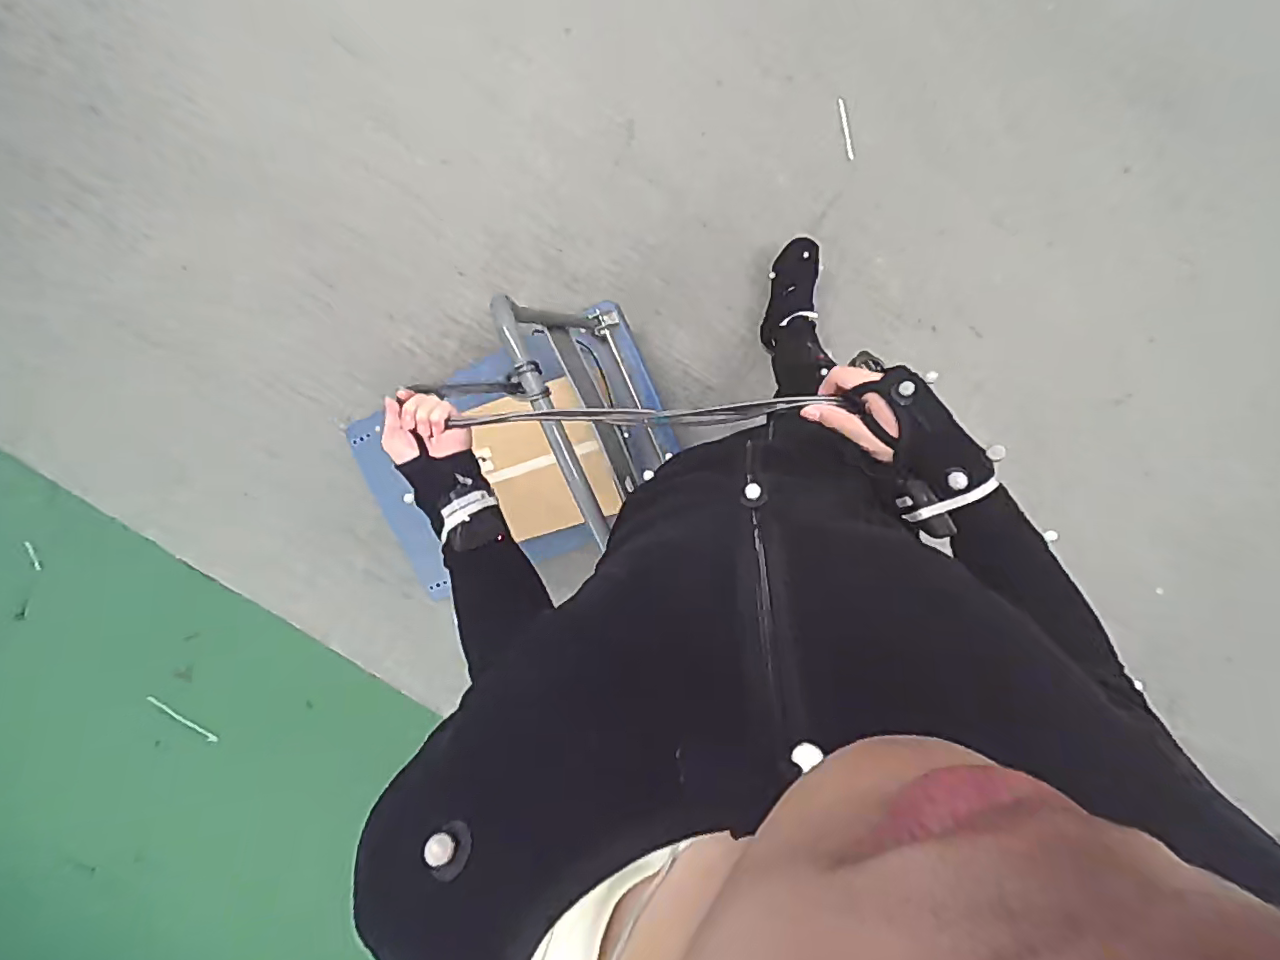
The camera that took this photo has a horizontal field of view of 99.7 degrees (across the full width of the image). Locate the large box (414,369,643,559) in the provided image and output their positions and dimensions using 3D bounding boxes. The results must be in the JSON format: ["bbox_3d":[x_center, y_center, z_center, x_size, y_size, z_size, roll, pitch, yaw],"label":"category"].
[{"bbox_3d":[-0.242,-0.054,1.314,0.408,0.320,0.320,-17,100,12],"label":"large box"}]
